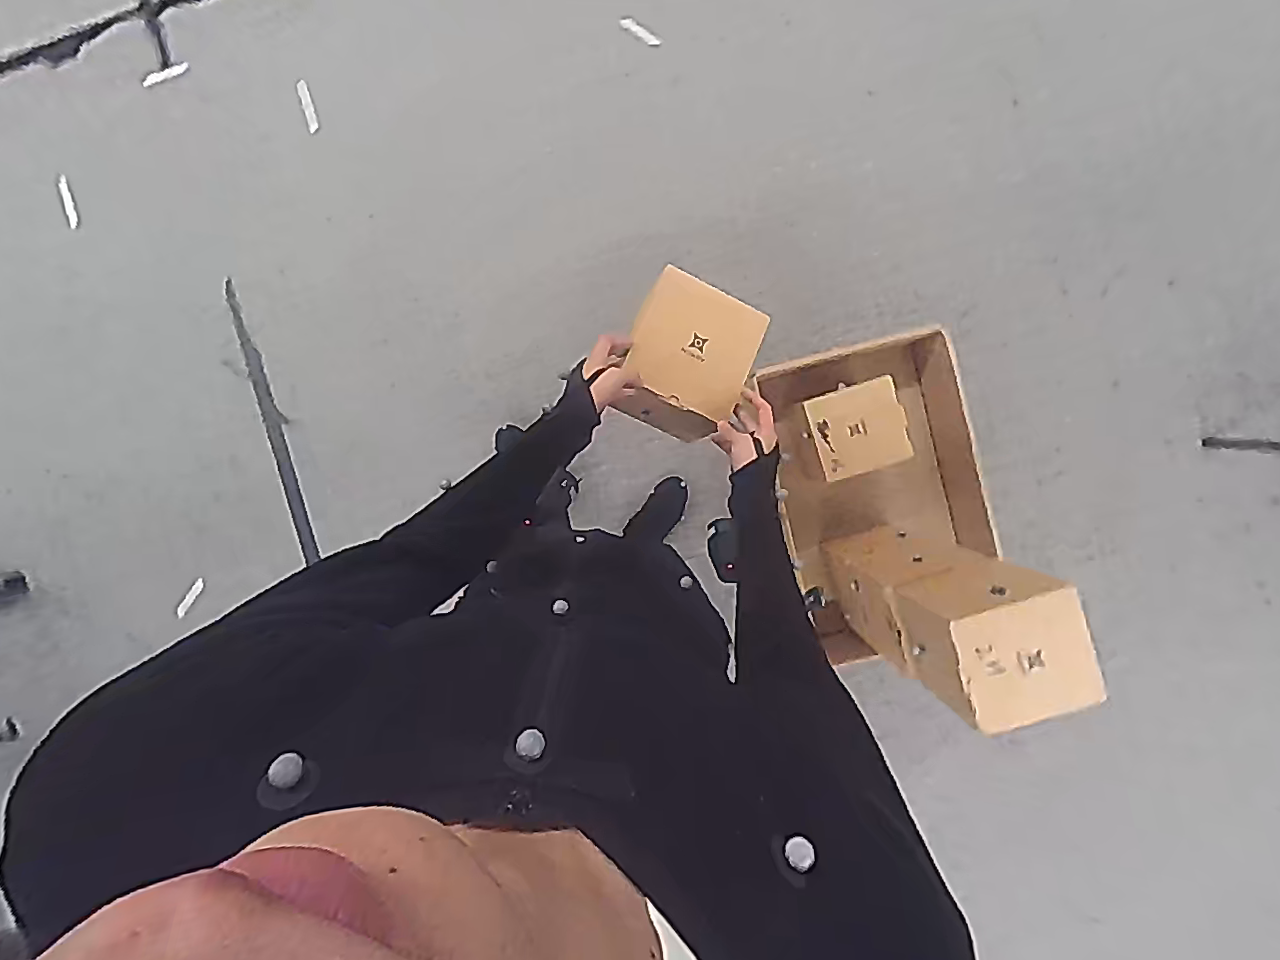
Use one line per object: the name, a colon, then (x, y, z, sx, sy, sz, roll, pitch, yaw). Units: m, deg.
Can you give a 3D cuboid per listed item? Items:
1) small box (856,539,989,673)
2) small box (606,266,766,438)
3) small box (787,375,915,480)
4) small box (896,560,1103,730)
small box: (0.507, 0.216, 0.967, 0.179, 0.176, 0.168, -17, 94, 2)
small box: (0.058, -0.178, 0.812, 0.168, 0.176, 0.179, 23, 84, -10)
small box: (0.425, -0.105, 1.115, 0.179, 0.176, 0.168, -17, 92, 2)
small box: (0.518, 0.231, 0.803, 0.179, 0.176, 0.168, -17, 93, 3)
